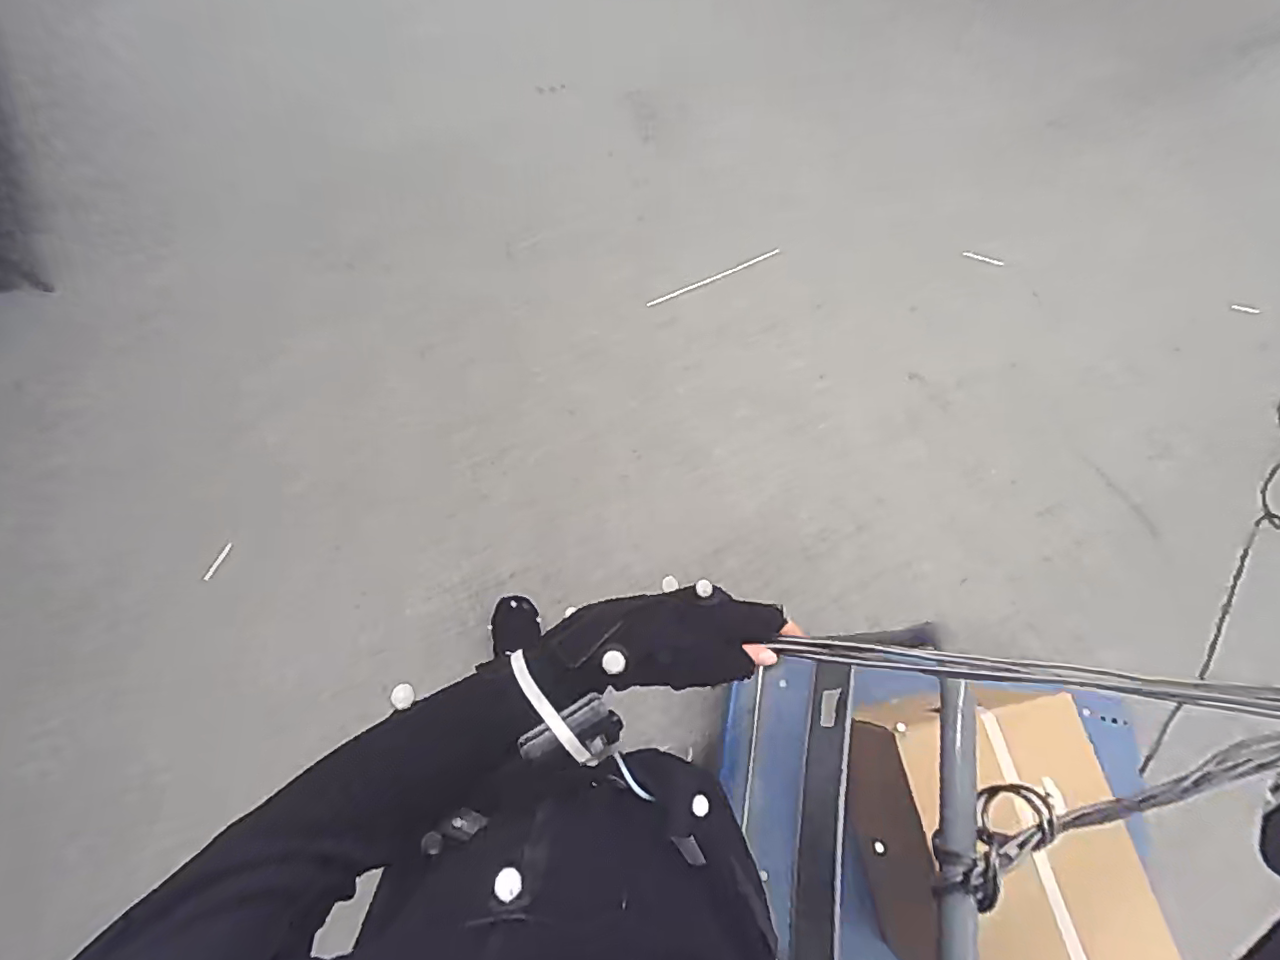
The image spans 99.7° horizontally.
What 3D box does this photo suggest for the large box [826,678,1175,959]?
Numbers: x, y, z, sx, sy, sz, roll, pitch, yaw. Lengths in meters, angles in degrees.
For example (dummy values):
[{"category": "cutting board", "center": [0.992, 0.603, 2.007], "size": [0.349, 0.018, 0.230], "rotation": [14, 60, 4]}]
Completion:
[{"category": "large box", "center": [0.583, 0.593, 0.966], "size": [0.320, 0.320, 0.408], "rotation": [-9, 71, -6]}]
